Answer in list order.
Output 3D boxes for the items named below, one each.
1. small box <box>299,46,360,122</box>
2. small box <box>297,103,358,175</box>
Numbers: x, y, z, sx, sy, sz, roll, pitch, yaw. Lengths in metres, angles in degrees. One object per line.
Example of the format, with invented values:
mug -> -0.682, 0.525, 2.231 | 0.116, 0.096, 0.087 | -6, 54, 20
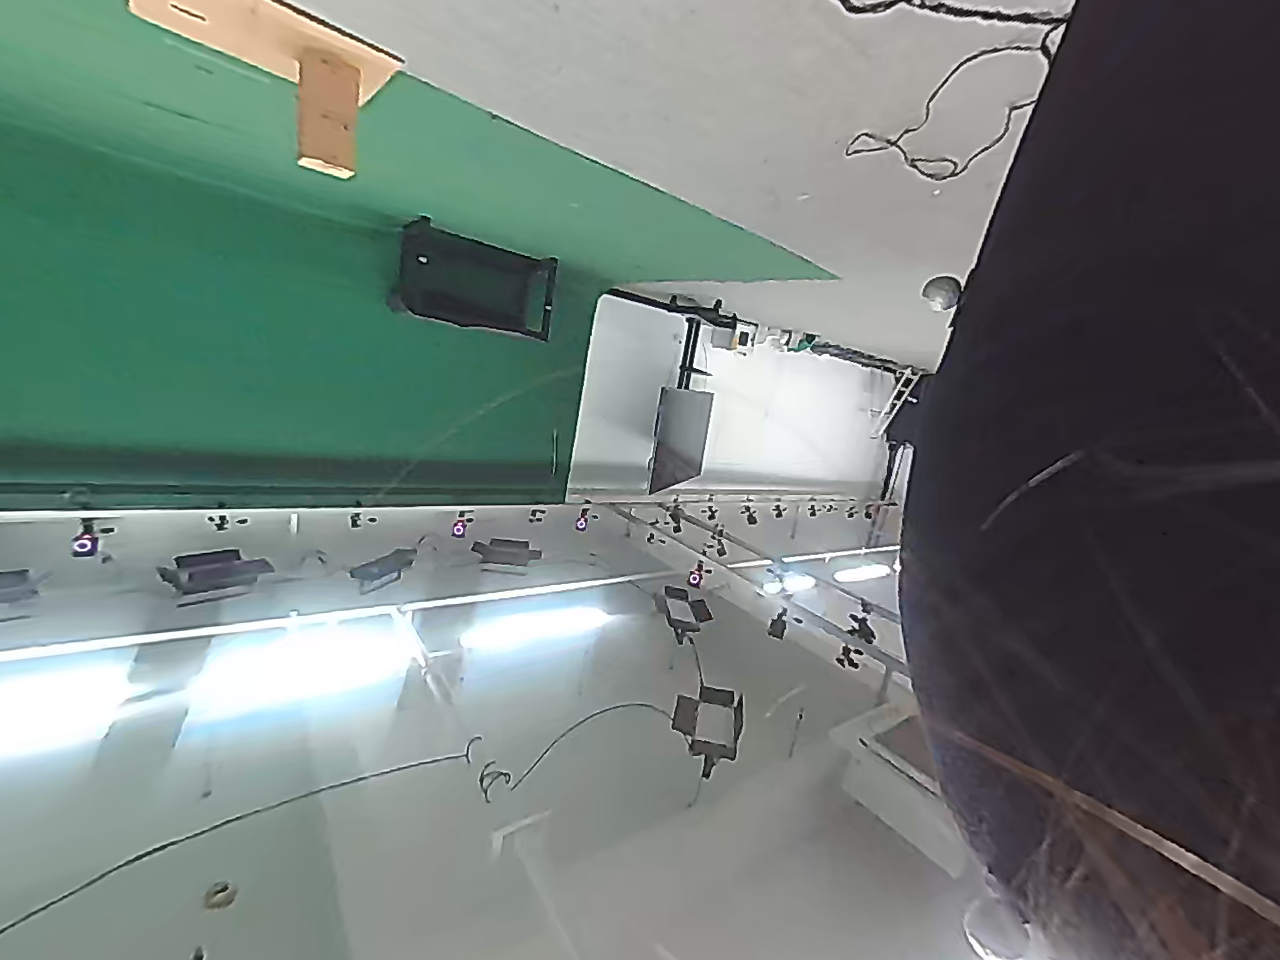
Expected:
small box -> -1.104, -1.390, 1.921 | 0.168, 0.176, 0.179 | -1, -164, -39
small box -> -1.131, -1.232, 1.957 | 0.168, 0.176, 0.179 | -1, -163, -41
